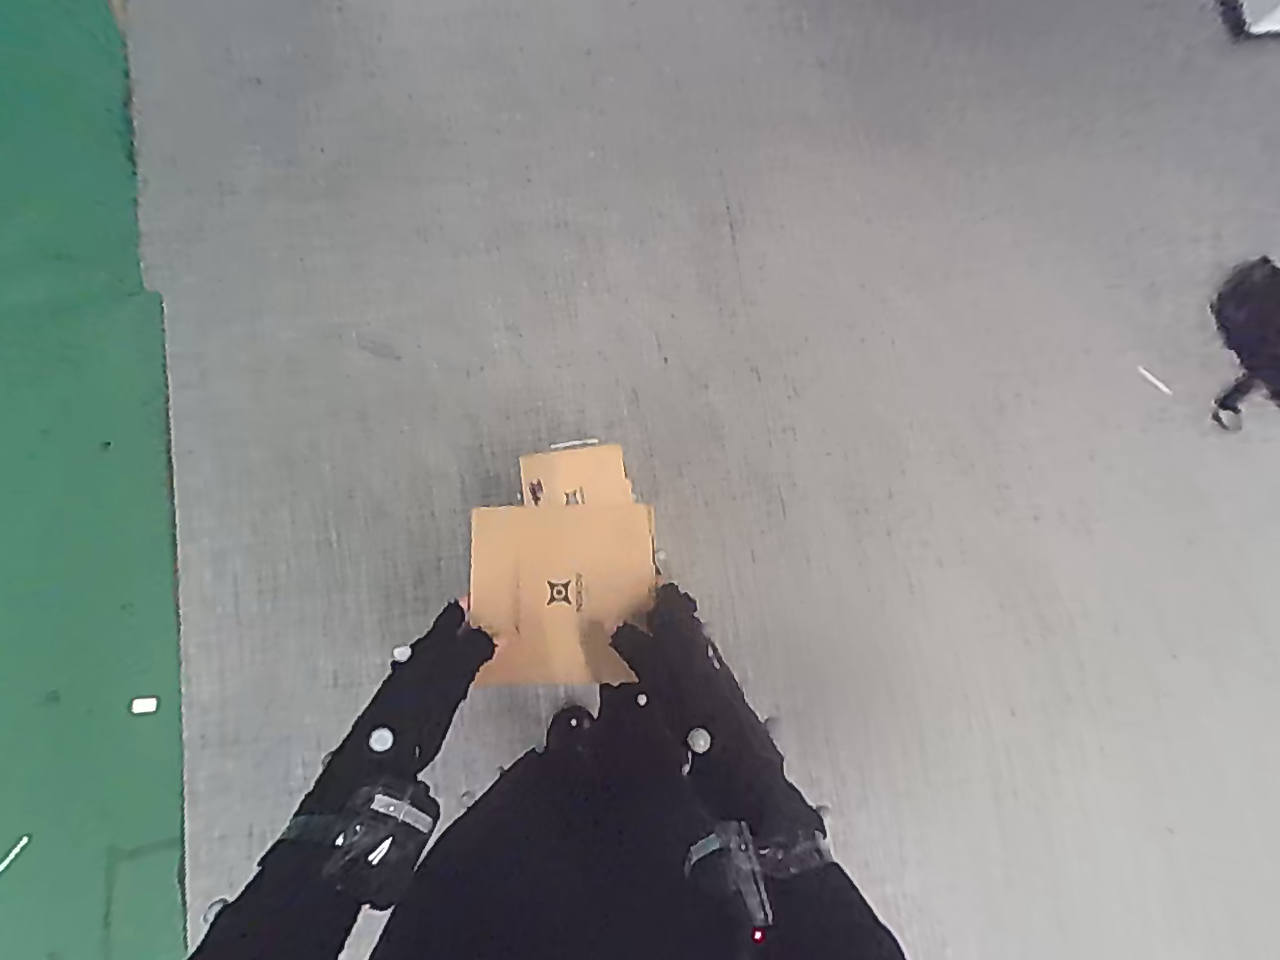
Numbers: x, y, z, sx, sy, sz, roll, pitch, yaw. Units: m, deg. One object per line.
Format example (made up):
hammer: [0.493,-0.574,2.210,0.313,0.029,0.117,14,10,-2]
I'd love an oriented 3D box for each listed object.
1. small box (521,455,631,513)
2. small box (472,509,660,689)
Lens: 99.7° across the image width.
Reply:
small box: [-0.105,0.058,0.979,0.179,0.176,0.168,-10,84,-3]
small box: [-0.072,0.125,0.592,0.179,0.176,0.168,-3,79,0]
